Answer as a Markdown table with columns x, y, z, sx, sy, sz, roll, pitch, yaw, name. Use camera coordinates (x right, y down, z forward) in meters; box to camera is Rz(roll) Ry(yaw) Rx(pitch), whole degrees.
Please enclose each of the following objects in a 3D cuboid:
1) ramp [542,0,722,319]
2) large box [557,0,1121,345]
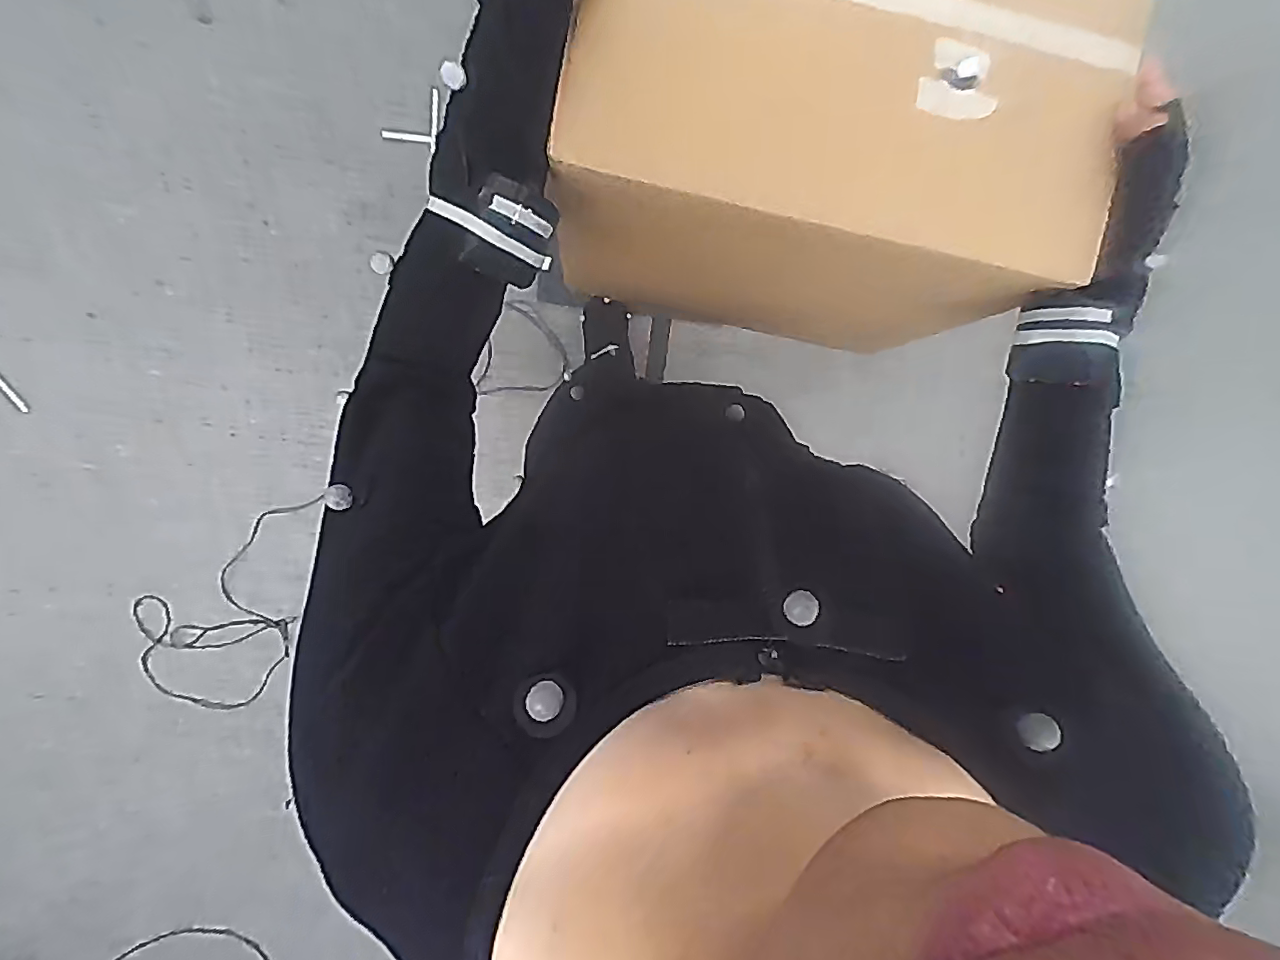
| x | y | z | sx | sy | sz | roll | pitch | yaw | name |
| --- | --- | --- | --- | --- | --- | --- | --- | --- | --- |
| 0.047 | -0.903 | 1.226 | 0.509 | 0.206 | 0.991 | 4 | 101 | -5 | ramp |
| 0.142 | -0.349 | 0.539 | 0.408 | 0.320 | 0.320 | 10 | 92 | -6 | large box |
